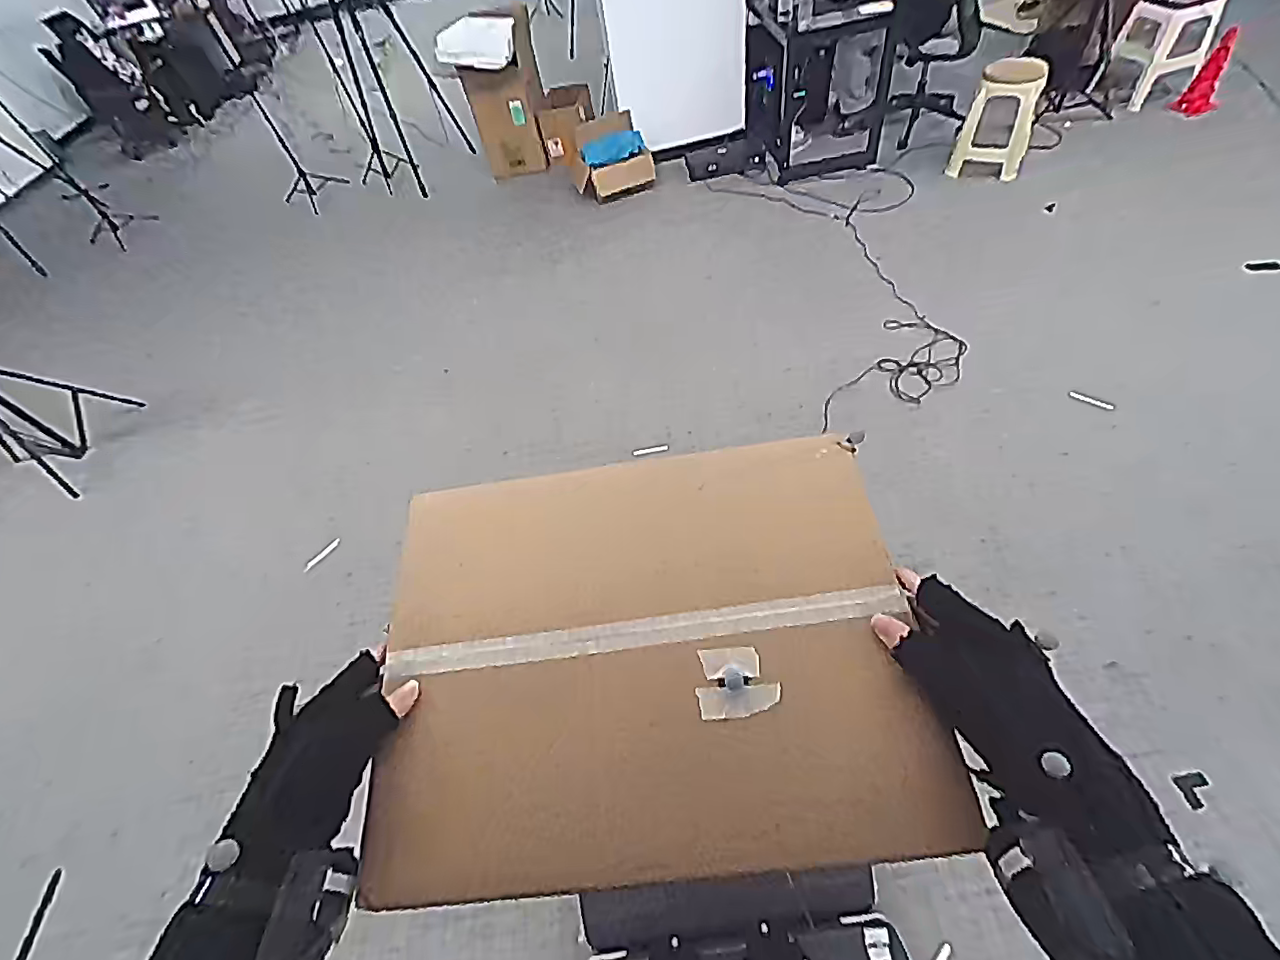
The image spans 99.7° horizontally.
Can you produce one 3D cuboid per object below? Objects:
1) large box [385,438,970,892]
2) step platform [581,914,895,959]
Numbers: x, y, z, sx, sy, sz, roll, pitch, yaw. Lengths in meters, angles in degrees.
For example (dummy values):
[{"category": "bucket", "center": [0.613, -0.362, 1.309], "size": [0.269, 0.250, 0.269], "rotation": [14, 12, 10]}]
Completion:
[{"category": "large box", "center": [0.022, 0.195, 0.560], "size": [0.408, 0.320, 0.320], "rotation": [-8, 60, 4]}, {"category": "step platform", "center": [0.193, 1.087, 1.071], "size": [0.684, 0.204, 0.286], "rotation": [-12, 51, 4]}]
